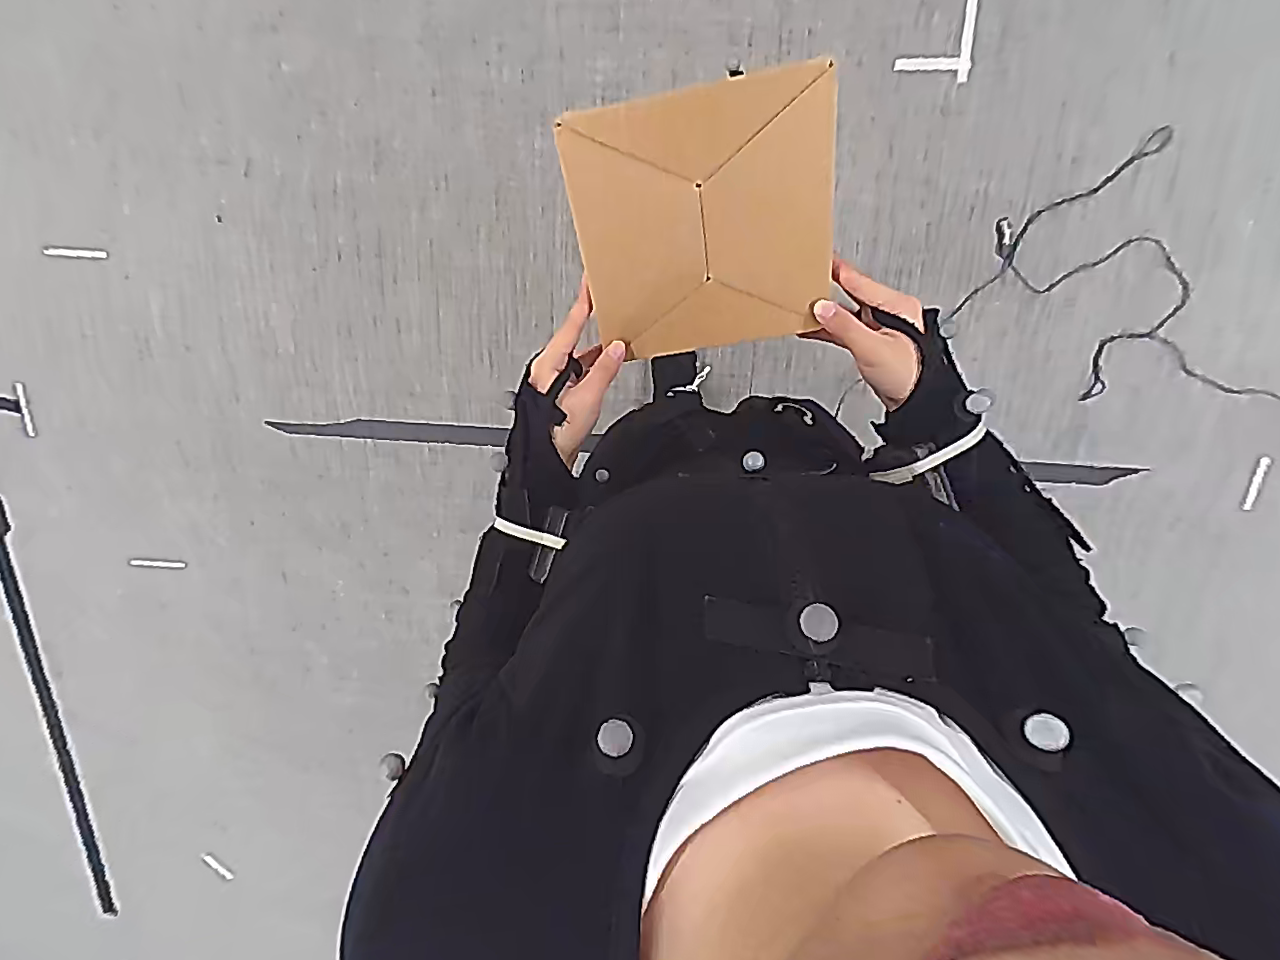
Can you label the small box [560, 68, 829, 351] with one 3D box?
[{"bbox_3d":[0.042,-0.220,0.442,0.179,0.176,0.168,-8,125,6],"label":"small box"}]
